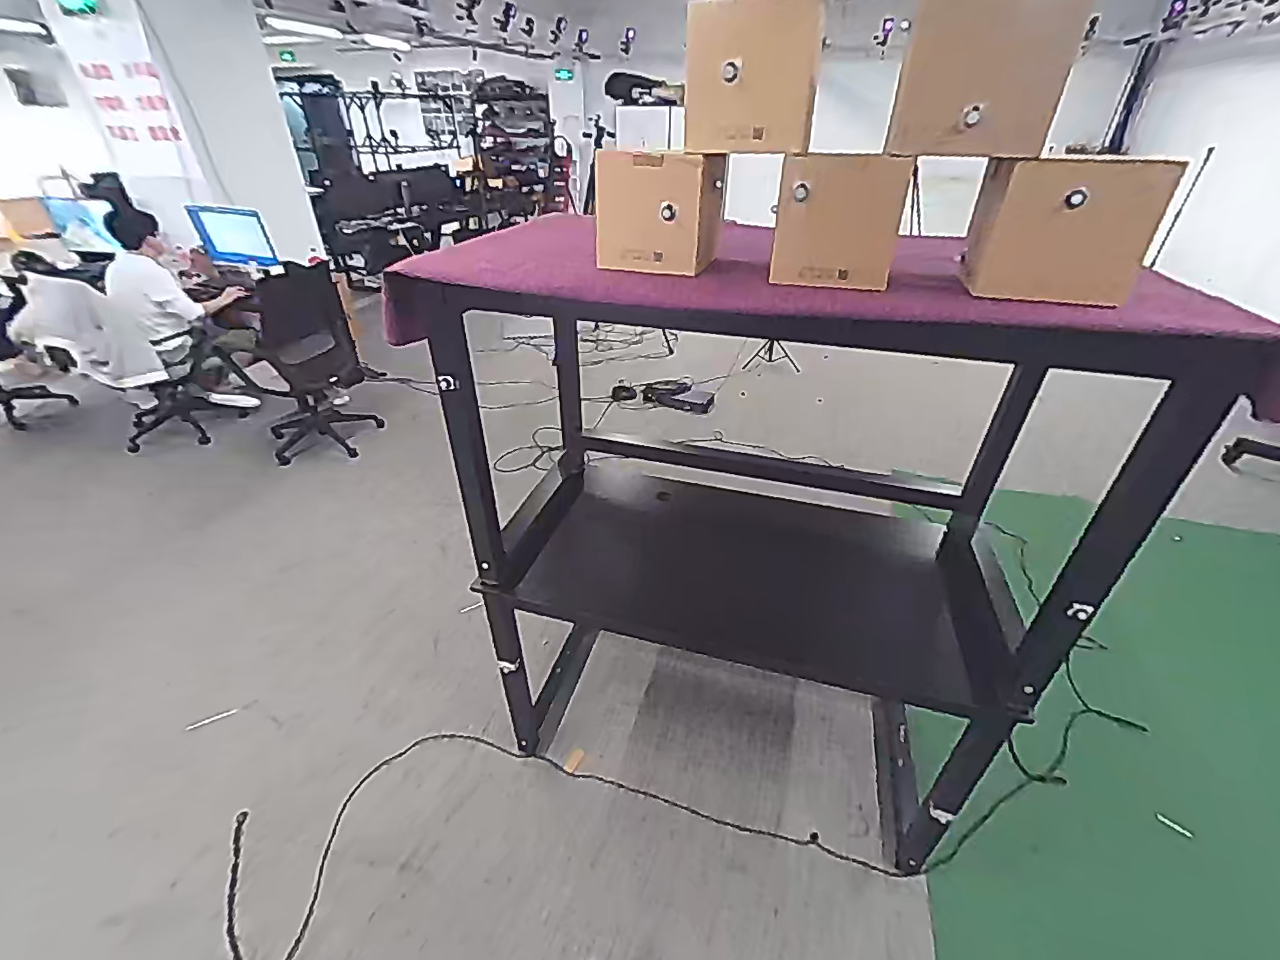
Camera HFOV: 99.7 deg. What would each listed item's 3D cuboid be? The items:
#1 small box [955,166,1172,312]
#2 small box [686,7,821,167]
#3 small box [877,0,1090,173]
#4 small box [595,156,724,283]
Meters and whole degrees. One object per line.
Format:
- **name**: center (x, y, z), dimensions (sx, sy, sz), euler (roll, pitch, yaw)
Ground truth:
- **small box**: center (0.565, -0.341, 0.759), dimensions (0.179, 0.176, 0.168), euler (10, 34, 14)
- **small box**: center (0.164, -0.553, 0.784), dimensions (0.168, 0.176, 0.179), euler (9, 33, 15)
- **small box**: center (0.426, -0.504, 0.707), dimensions (0.179, 0.176, 0.168), euler (11, 33, 15)
- **small box**: center (0.036, -0.431, 0.889), dimensions (0.168, 0.176, 0.179), euler (12, 34, 15)
